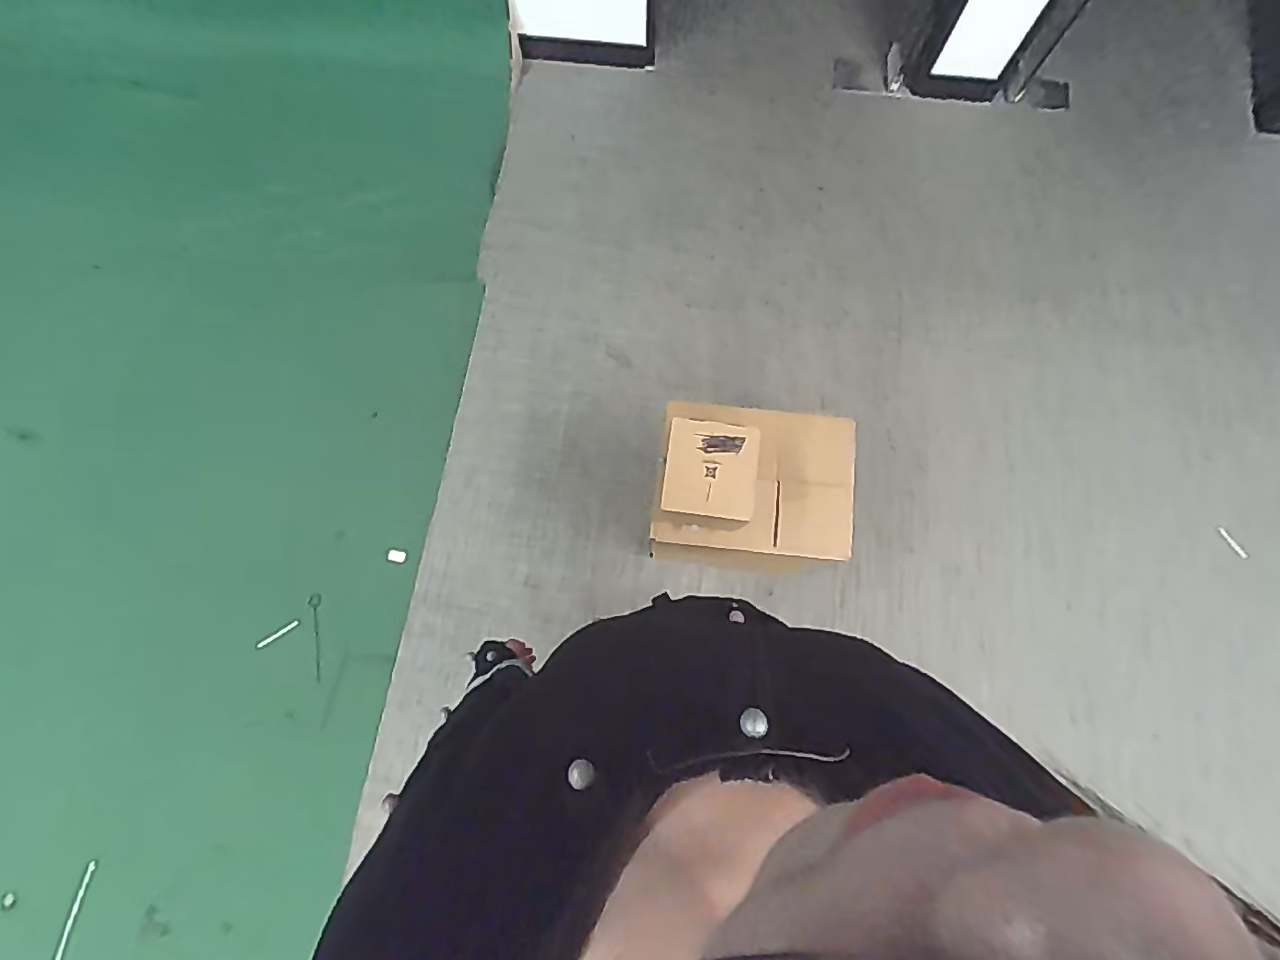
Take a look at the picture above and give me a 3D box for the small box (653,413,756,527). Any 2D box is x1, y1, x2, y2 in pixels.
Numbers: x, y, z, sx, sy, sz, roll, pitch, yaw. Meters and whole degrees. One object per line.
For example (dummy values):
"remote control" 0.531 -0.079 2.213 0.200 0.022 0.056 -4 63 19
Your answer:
"small box" 0.119 -0.013 1.051 0.168 0.176 0.179 9 80 1
